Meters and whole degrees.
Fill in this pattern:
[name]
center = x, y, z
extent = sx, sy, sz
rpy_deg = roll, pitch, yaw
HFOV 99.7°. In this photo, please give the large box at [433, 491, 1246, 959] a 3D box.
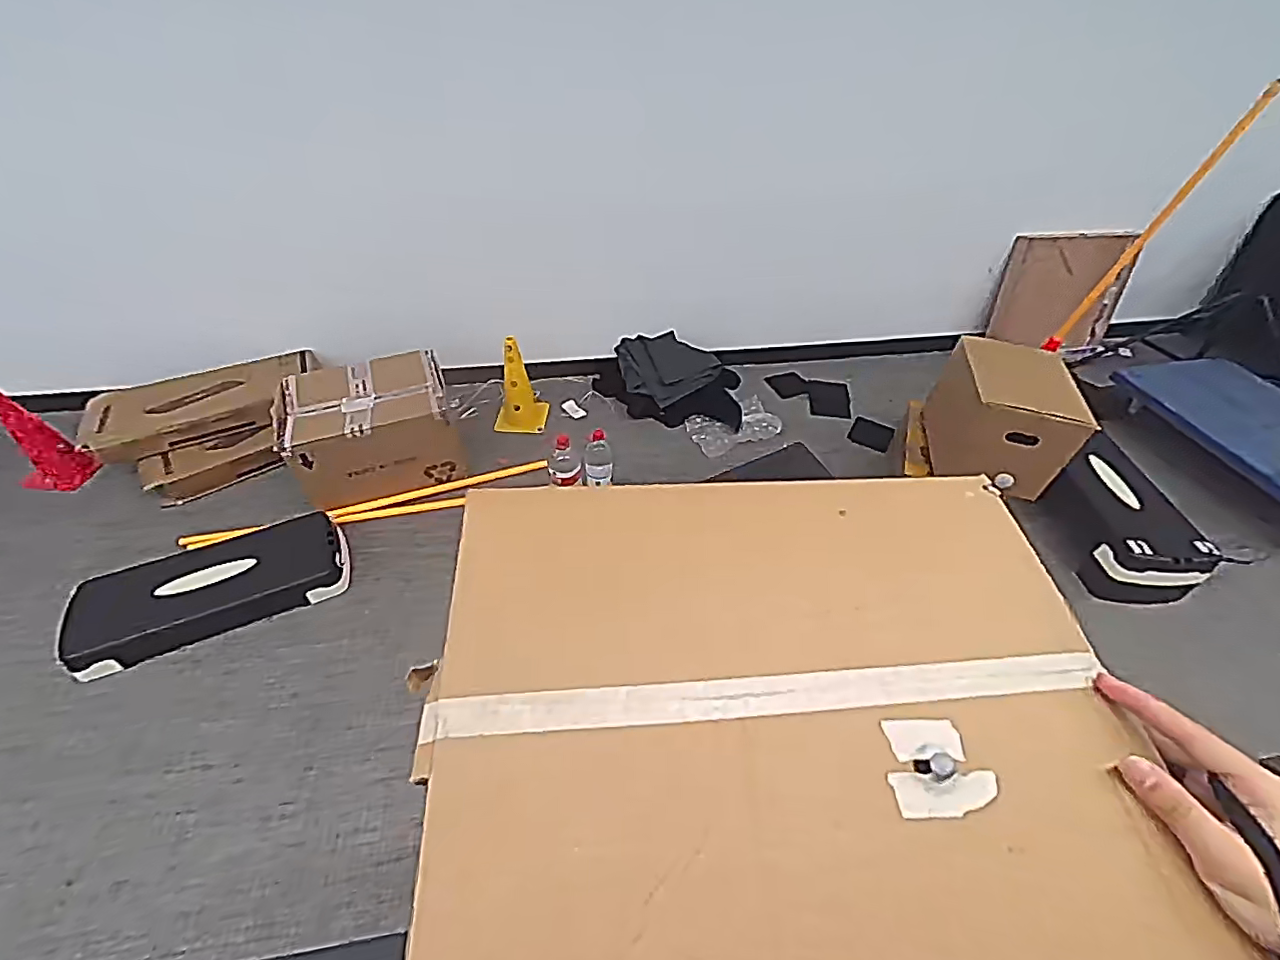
[large box]
center = 0.078, 0.228, 0.444
extent = 0.408, 0.320, 0.320
rpy_deg = -1, 53, -7
